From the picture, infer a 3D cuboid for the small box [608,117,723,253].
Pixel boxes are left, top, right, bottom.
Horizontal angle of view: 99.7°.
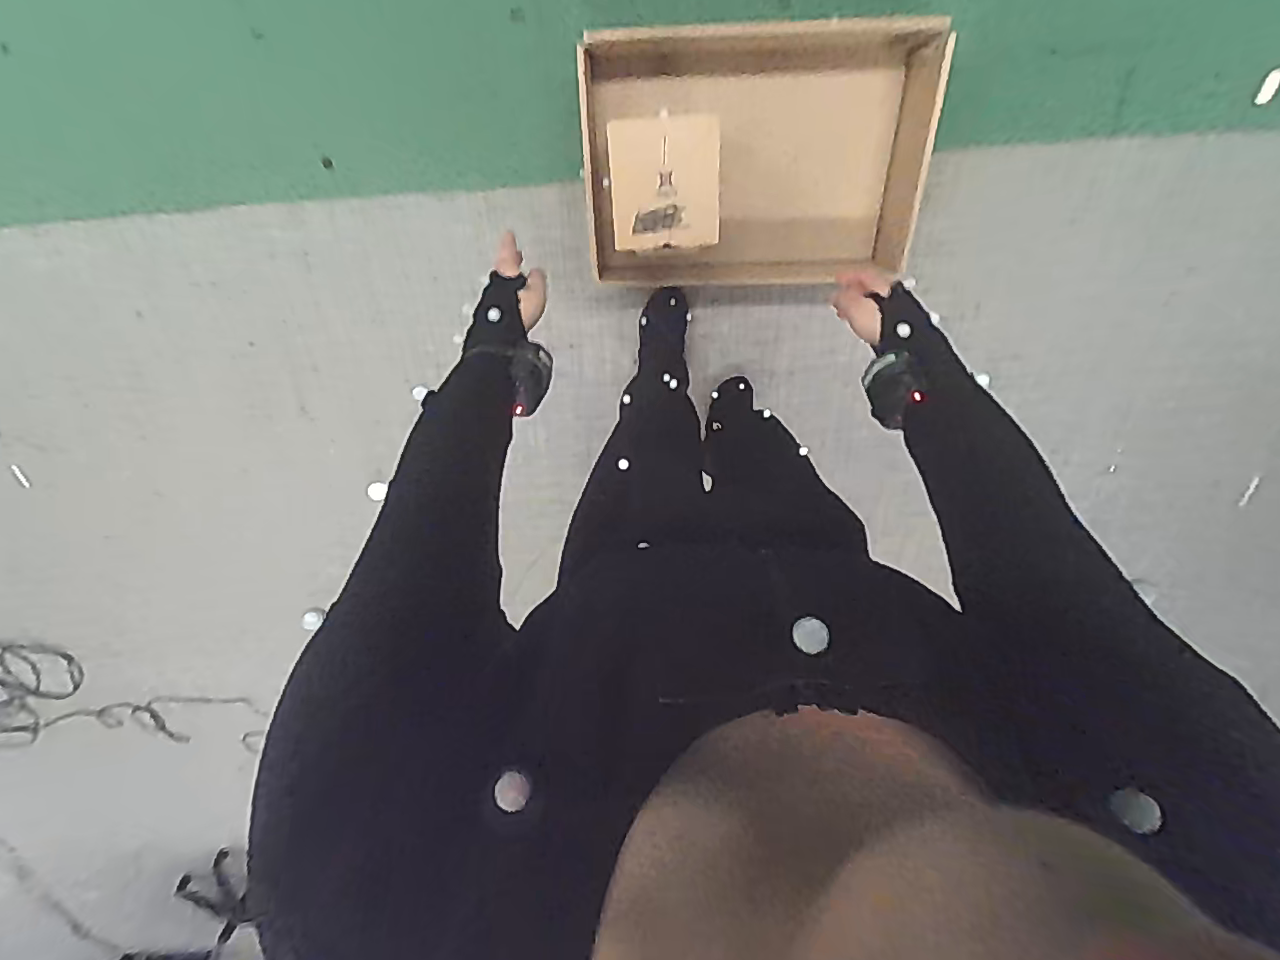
[{"bbox_3d":[0.040,-0.478,0.879,0.168,0.176,0.179,-3,120,1],"label":"small box"}]
